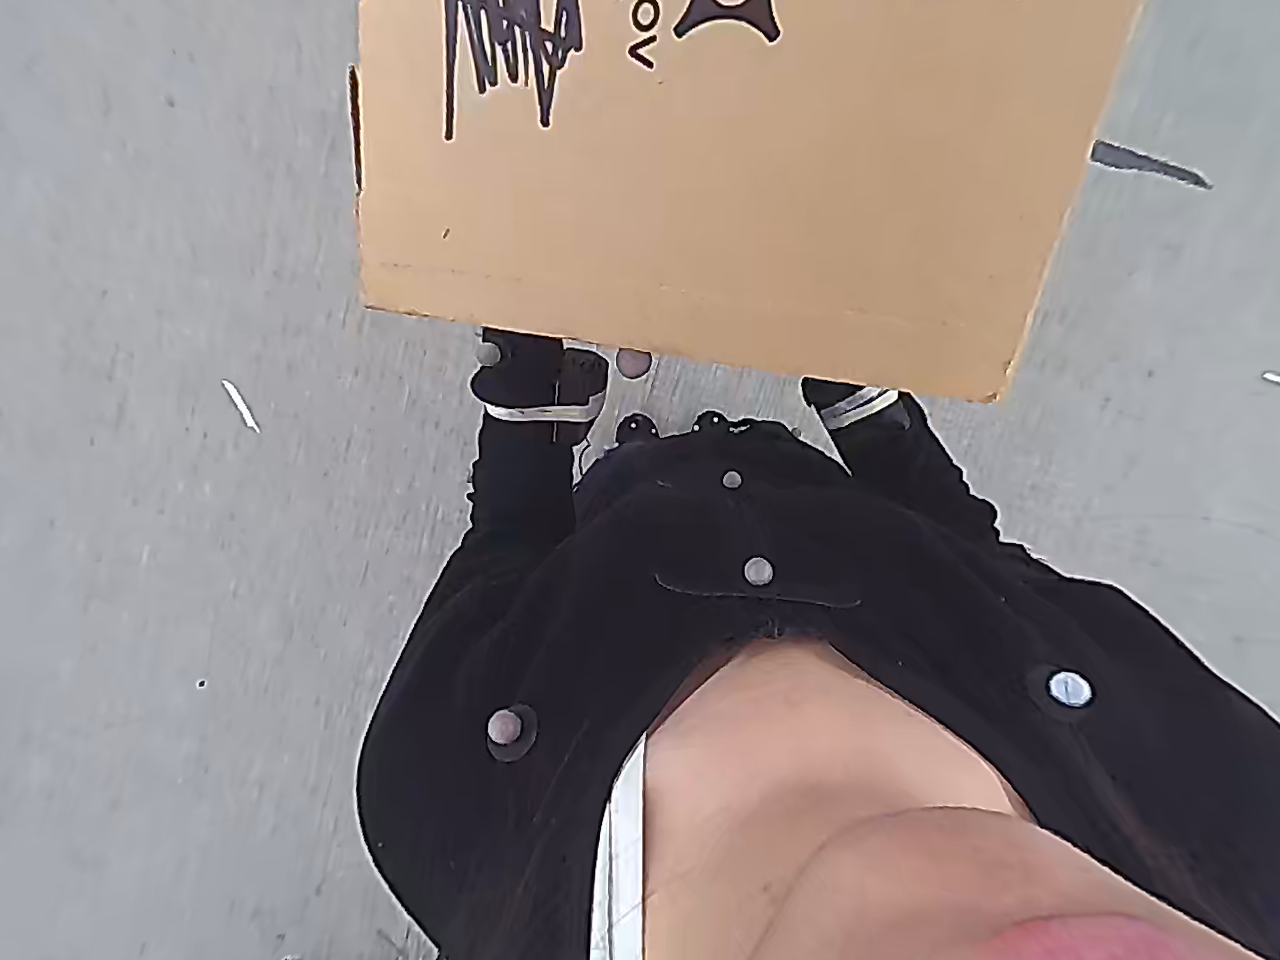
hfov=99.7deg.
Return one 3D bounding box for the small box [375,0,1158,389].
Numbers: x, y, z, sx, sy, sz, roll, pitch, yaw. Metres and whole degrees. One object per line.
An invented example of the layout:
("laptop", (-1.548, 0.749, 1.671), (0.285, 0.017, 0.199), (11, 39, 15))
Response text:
("small box", (0.036, -0.136, 0.192), (0.179, 0.176, 0.168), (11, 110, 10))
